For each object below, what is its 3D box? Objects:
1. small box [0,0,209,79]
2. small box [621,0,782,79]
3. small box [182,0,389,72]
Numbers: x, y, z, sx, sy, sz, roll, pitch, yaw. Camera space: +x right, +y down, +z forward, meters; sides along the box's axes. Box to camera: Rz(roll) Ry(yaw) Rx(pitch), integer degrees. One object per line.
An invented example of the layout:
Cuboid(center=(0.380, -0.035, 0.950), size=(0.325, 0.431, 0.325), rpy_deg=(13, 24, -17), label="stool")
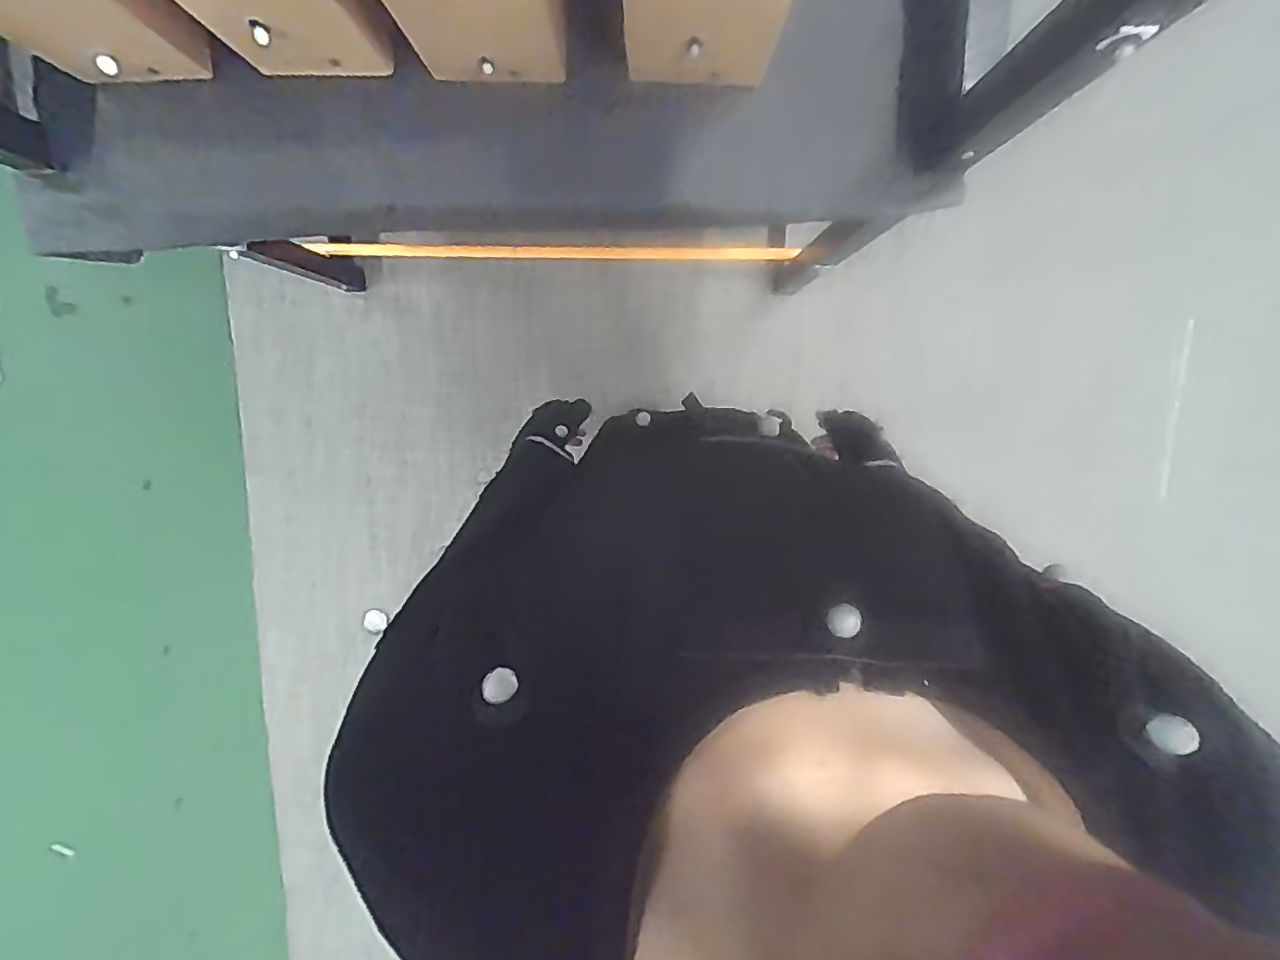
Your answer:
Cuboid(center=(-0.614, -0.574, 0.580), size=(0.168, 0.176, 0.179), rpy_deg=(-1, 99, 1), label="small box")
Cuboid(center=(0.068, -0.564, 0.570), size=(0.168, 0.176, 0.179), rpy_deg=(3, 98, 0), label="small box")
Cuboid(center=(-0.387, -0.577, 0.579), size=(0.168, 0.176, 0.179), rpy_deg=(1, 98, 0), label="small box")
